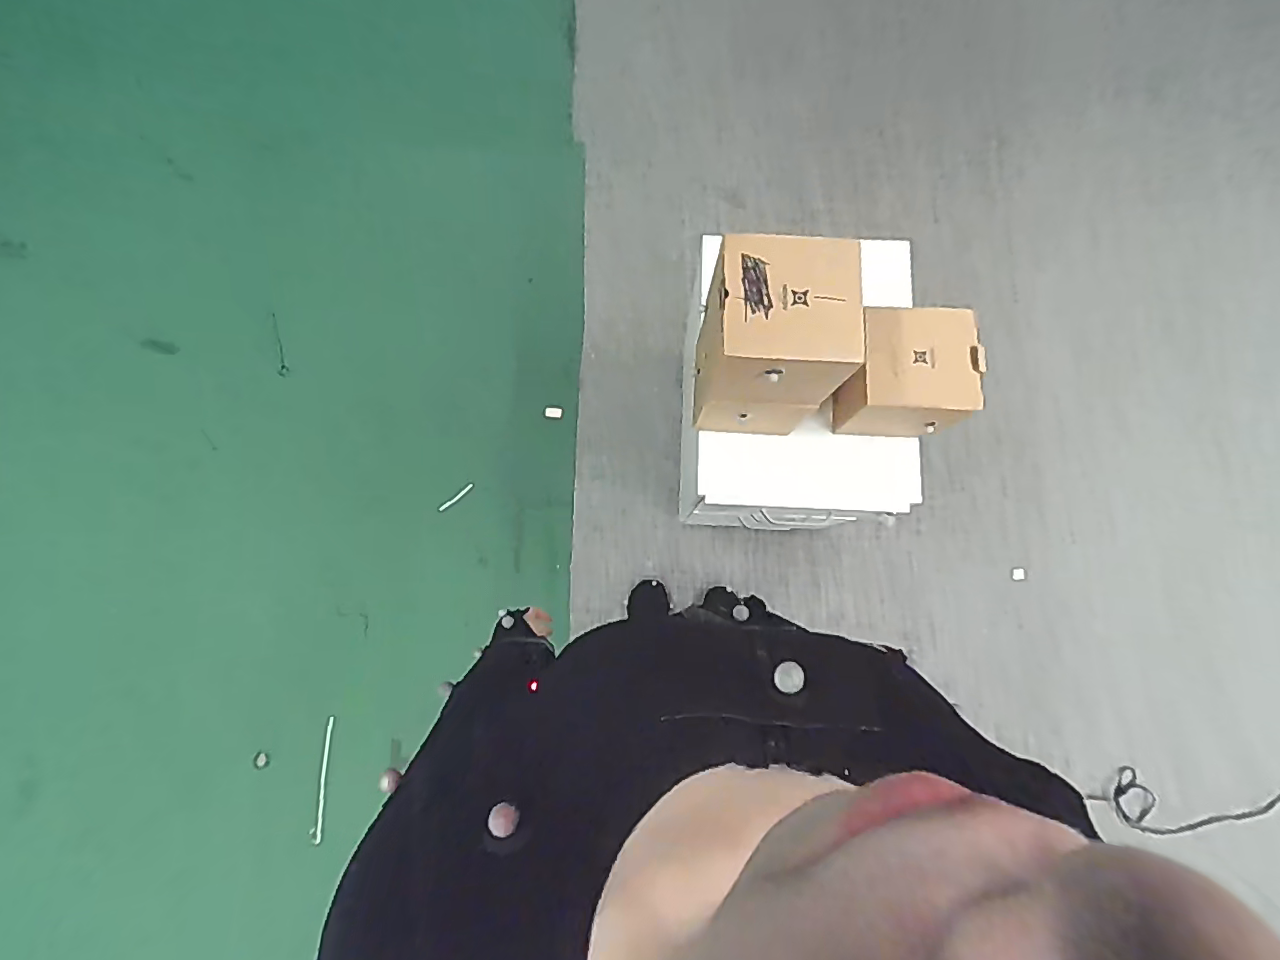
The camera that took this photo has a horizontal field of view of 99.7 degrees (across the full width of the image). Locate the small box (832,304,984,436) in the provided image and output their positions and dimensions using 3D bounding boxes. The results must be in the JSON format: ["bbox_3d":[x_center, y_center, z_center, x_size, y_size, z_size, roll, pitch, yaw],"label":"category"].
[{"bbox_3d":[0.434,-0.174,0.899,0.179,0.176,0.168,3,80,3],"label":"small box"}]

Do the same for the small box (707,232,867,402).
[{"bbox_3d":[0.188,-0.211,0.739,0.179,0.176,0.168,3,81,-1],"label":"small box"}]

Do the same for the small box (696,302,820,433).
[{"bbox_3d":[0.188,-0.180,0.901,0.179,0.176,0.168,3,81,0],"label":"small box"}]
